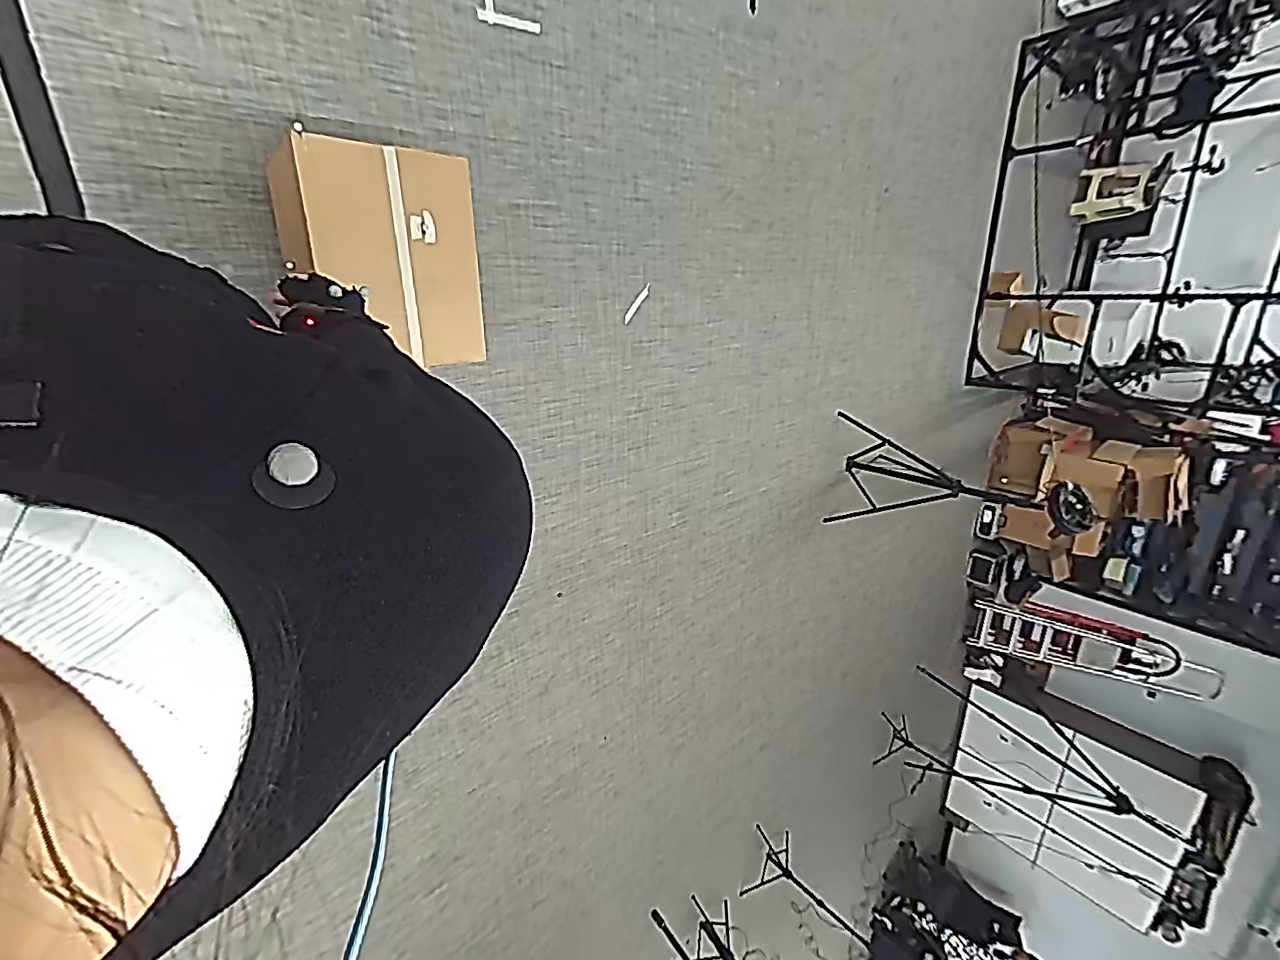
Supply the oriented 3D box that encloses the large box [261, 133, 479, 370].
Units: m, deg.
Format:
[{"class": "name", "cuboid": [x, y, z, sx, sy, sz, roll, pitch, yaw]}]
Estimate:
[{"class": "large box", "cuboid": [-0.581, -0.463, 1.175, 0.320, 0.320, 0.408, -16, 113, -39]}]
